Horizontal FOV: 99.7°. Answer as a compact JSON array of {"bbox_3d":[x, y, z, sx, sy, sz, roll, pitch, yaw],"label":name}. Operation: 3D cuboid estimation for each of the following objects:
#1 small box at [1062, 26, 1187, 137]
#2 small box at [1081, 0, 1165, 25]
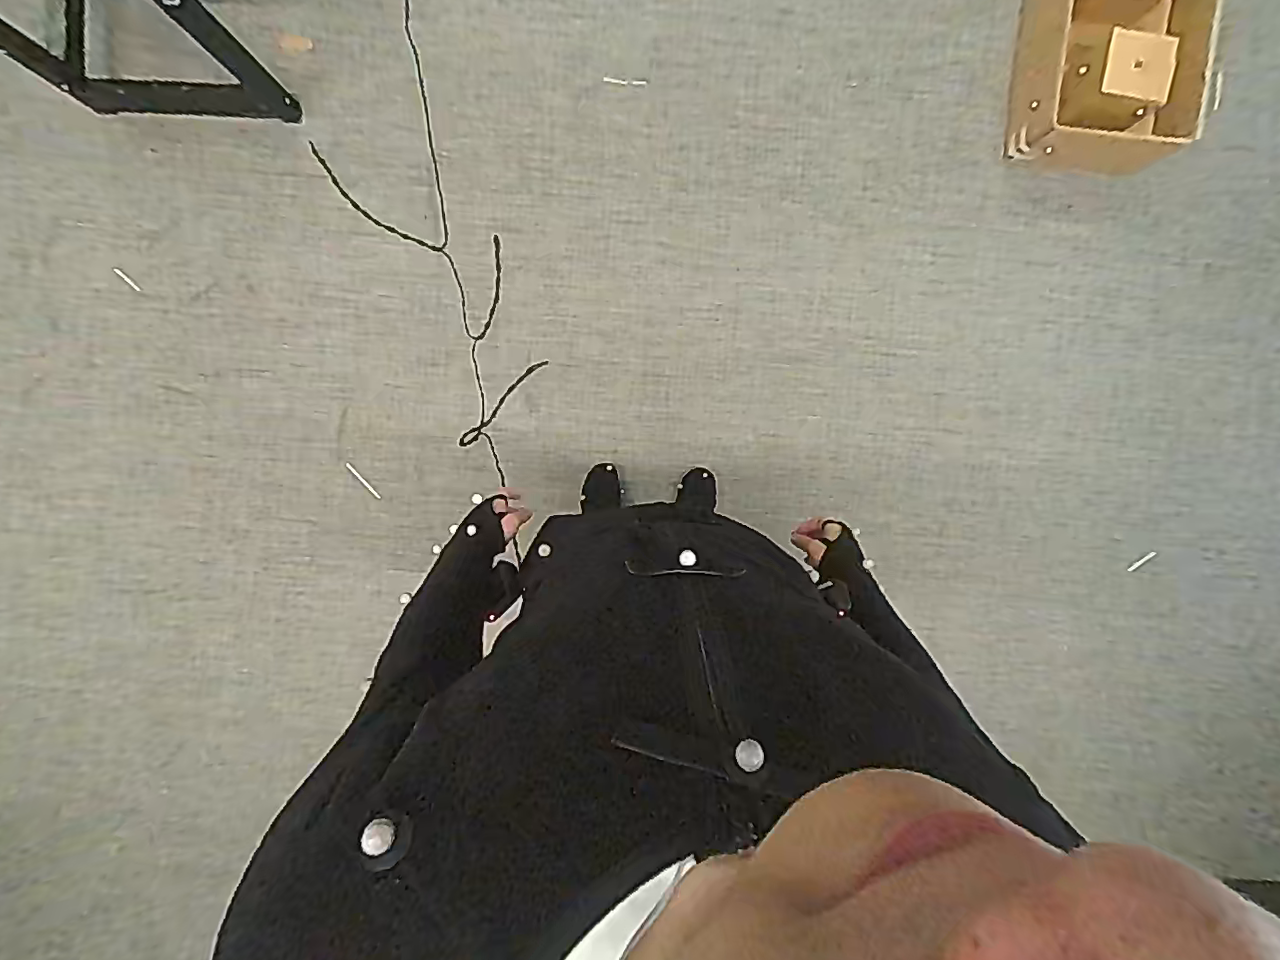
[{"bbox_3d":[1.287,-1.058,1.450,0.179,0.176,0.168,9,93,-1],"label":"small box"},{"bbox_3d":[1.322,-1.356,1.430,0.179,0.176,0.168,5,95,-1],"label":"small box"}]
